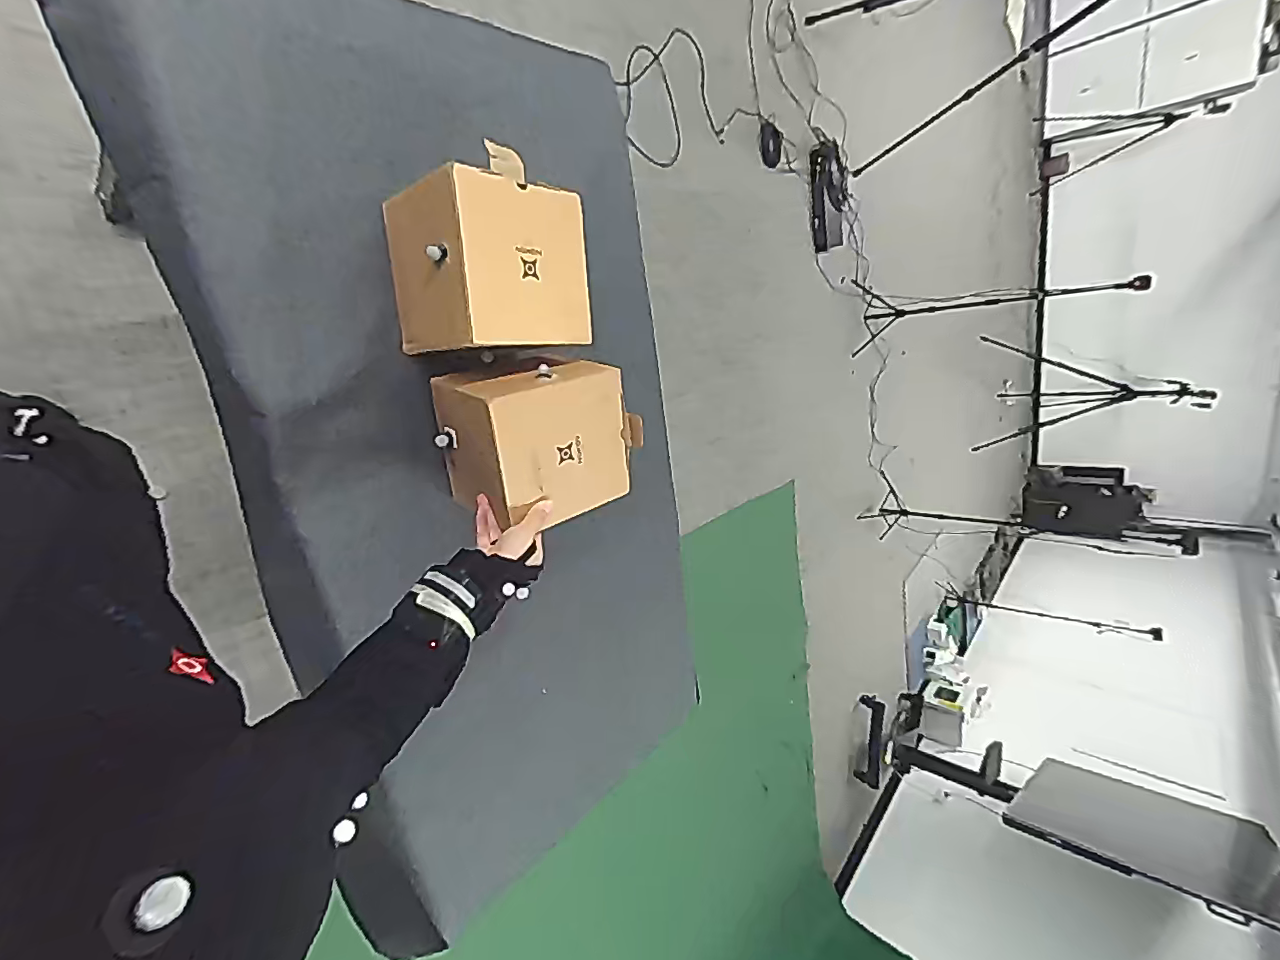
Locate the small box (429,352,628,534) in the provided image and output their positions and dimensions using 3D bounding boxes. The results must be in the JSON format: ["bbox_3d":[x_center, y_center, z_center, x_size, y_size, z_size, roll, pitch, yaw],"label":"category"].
[{"bbox_3d":[-0.138,-0.060,0.686,0.179,0.176,0.168,-24,121,-36],"label":"small box"}]

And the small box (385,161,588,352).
[{"bbox_3d":[-0.184,-0.248,0.654,0.168,0.176,0.179,-16,105,-46],"label":"small box"}]
